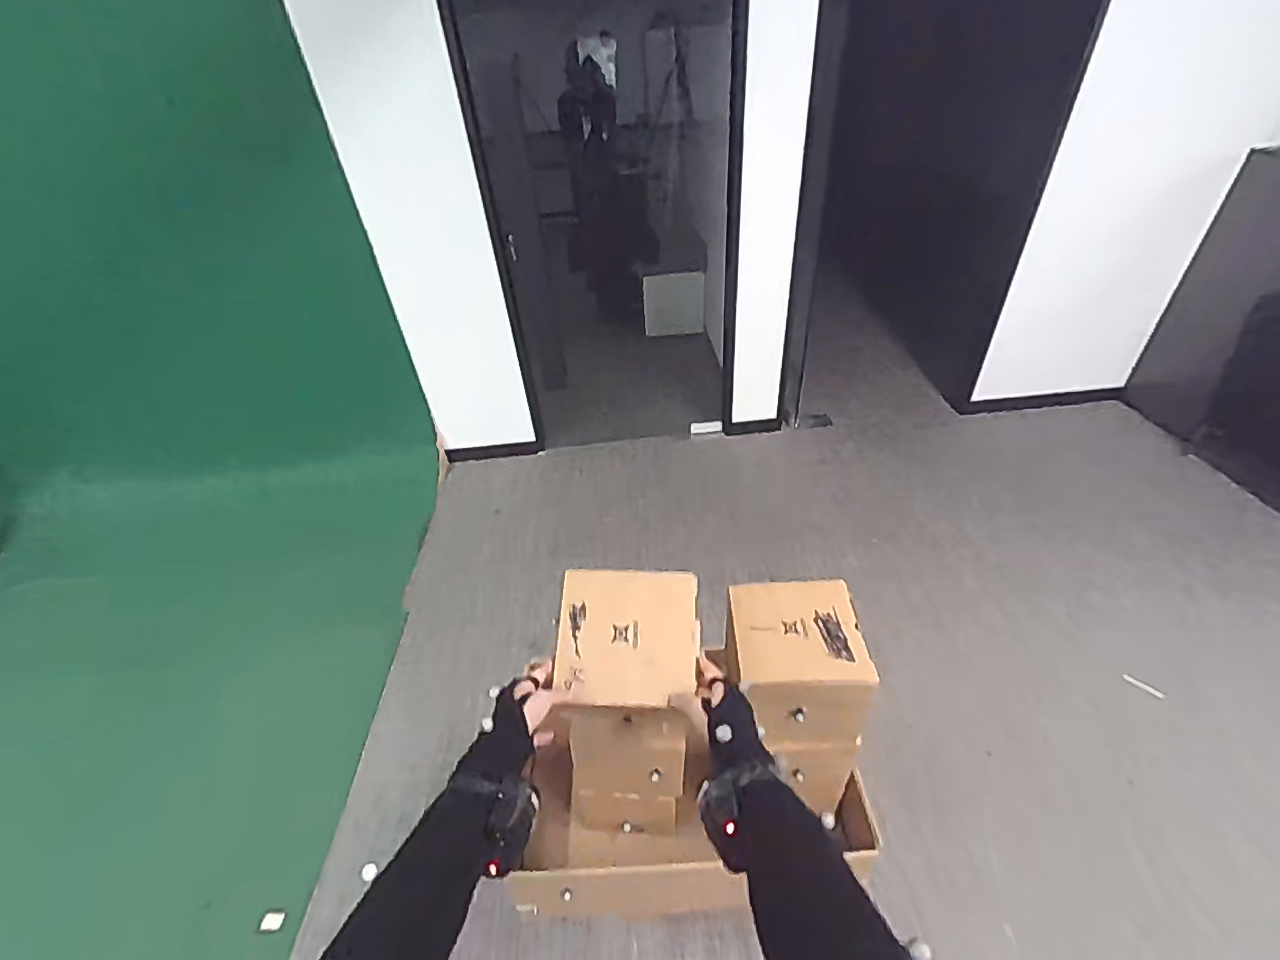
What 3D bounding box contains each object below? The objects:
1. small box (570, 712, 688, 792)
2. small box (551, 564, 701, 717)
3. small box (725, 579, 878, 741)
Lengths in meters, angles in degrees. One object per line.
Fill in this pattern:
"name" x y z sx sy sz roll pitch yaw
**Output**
"small box" -0.011 0.401 0.910 0.179 0.176 0.168 2 37 4
"small box" -0.014 0.224 0.735 0.179 0.176 0.168 2 61 1
"small box" 0.222 0.264 0.794 0.179 0.176 0.168 -2 39 4
